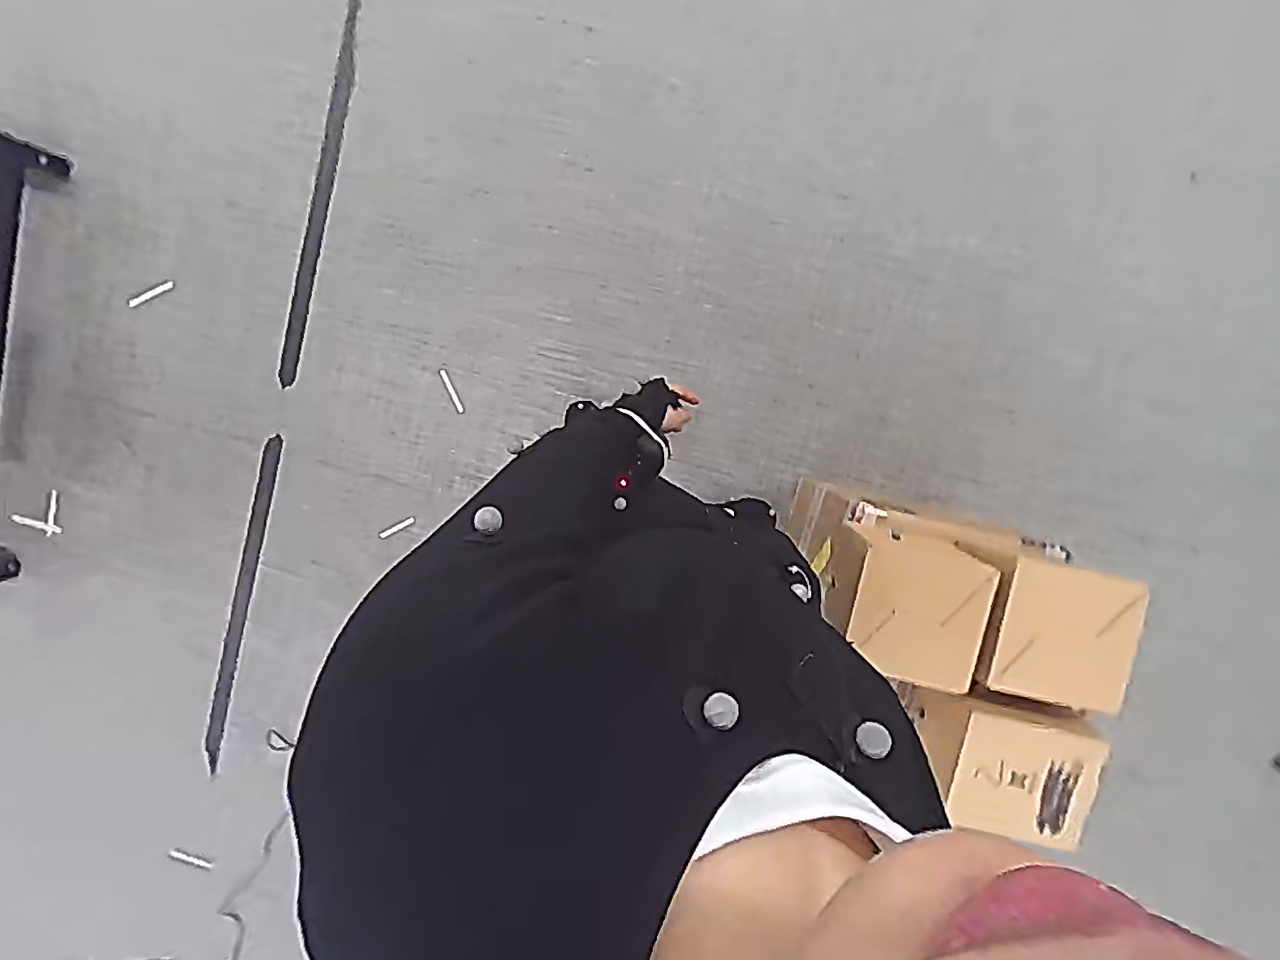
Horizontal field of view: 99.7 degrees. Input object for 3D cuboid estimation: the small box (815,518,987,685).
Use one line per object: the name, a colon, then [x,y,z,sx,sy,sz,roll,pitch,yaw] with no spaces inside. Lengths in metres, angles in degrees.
small box: [0.375,0.169,0.799,0.168,0.176,0.179,13,96,7]
